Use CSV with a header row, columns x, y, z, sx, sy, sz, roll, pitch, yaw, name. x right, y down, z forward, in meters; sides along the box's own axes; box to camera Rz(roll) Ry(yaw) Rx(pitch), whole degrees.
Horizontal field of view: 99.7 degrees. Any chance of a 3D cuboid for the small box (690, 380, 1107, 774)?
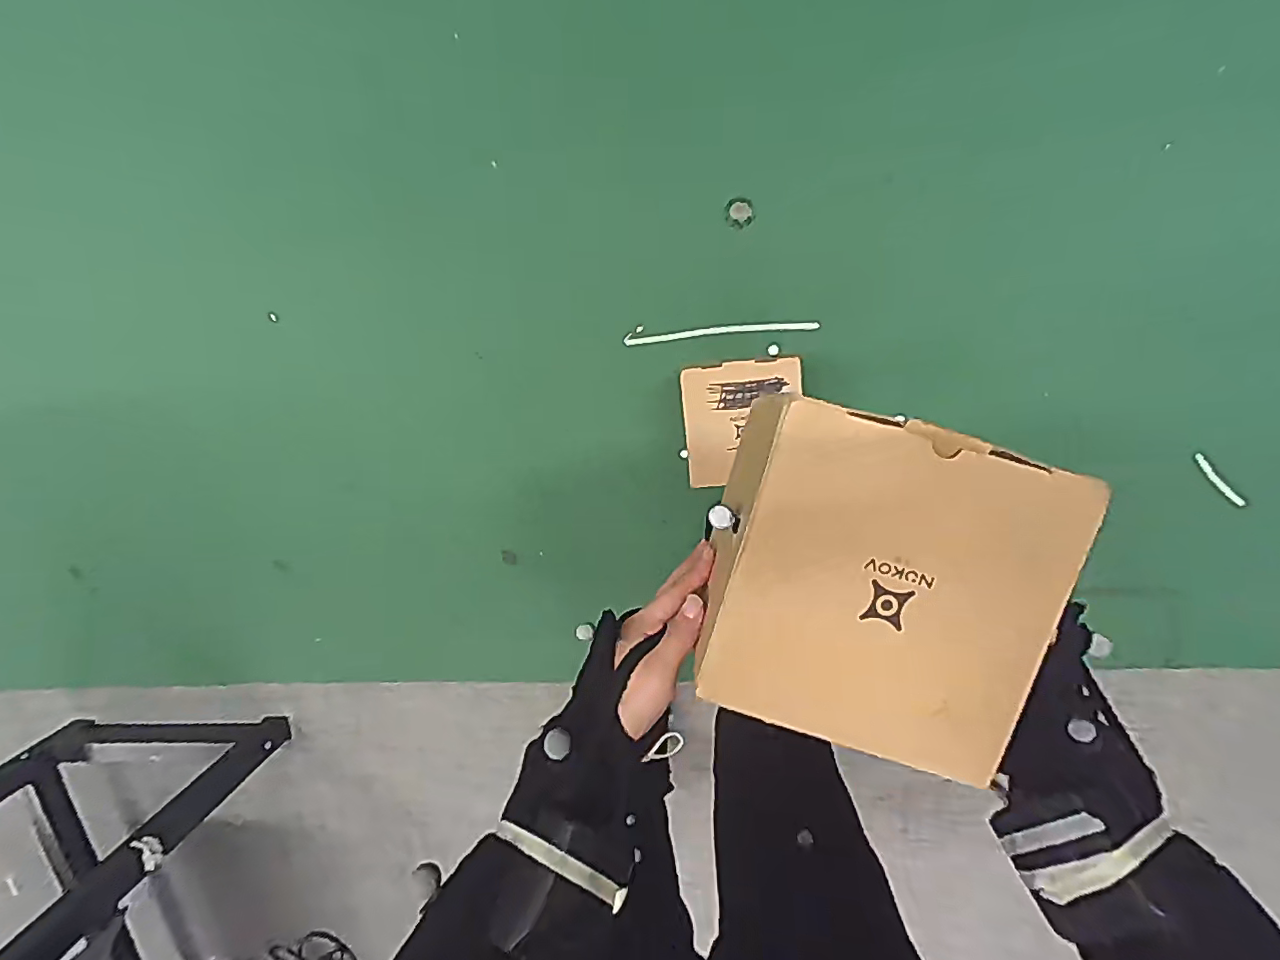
x,y,z,sx,sy,sz,roll,pitch,yaw,name
0.138,0.044,0.361,0.168,0.176,0.179,16,98,4,small box
